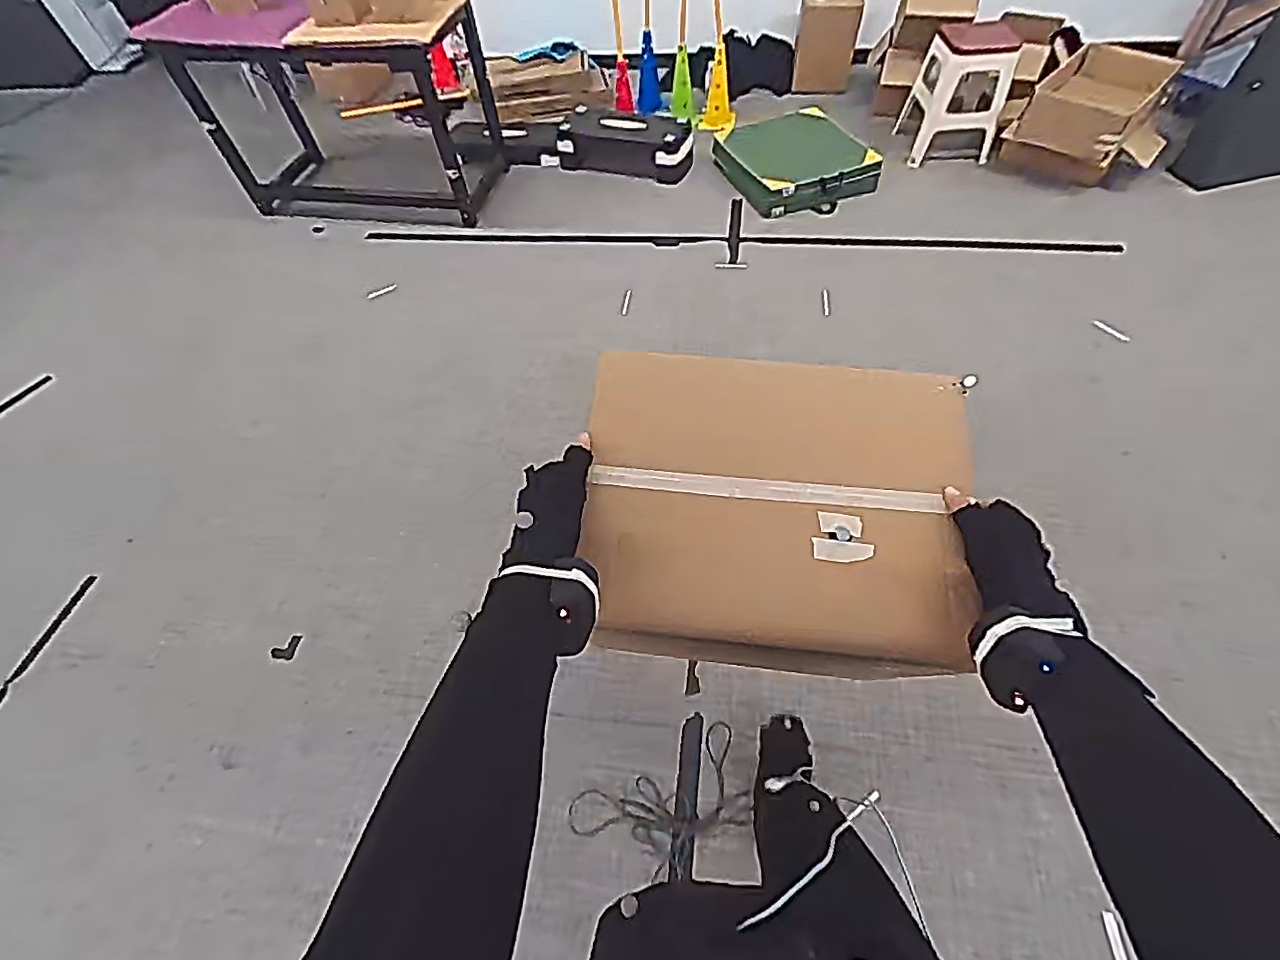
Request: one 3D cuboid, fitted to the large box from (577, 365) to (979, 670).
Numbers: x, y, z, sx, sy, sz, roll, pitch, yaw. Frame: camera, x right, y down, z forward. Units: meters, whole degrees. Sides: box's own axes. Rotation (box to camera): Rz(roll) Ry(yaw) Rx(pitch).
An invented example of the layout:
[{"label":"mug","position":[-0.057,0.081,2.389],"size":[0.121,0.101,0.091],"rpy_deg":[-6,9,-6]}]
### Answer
[{"label":"large box","position":[0.148,0.071,0.723],"size":[0.408,0.320,0.320],"rpy_deg":[5,70,4]}]
